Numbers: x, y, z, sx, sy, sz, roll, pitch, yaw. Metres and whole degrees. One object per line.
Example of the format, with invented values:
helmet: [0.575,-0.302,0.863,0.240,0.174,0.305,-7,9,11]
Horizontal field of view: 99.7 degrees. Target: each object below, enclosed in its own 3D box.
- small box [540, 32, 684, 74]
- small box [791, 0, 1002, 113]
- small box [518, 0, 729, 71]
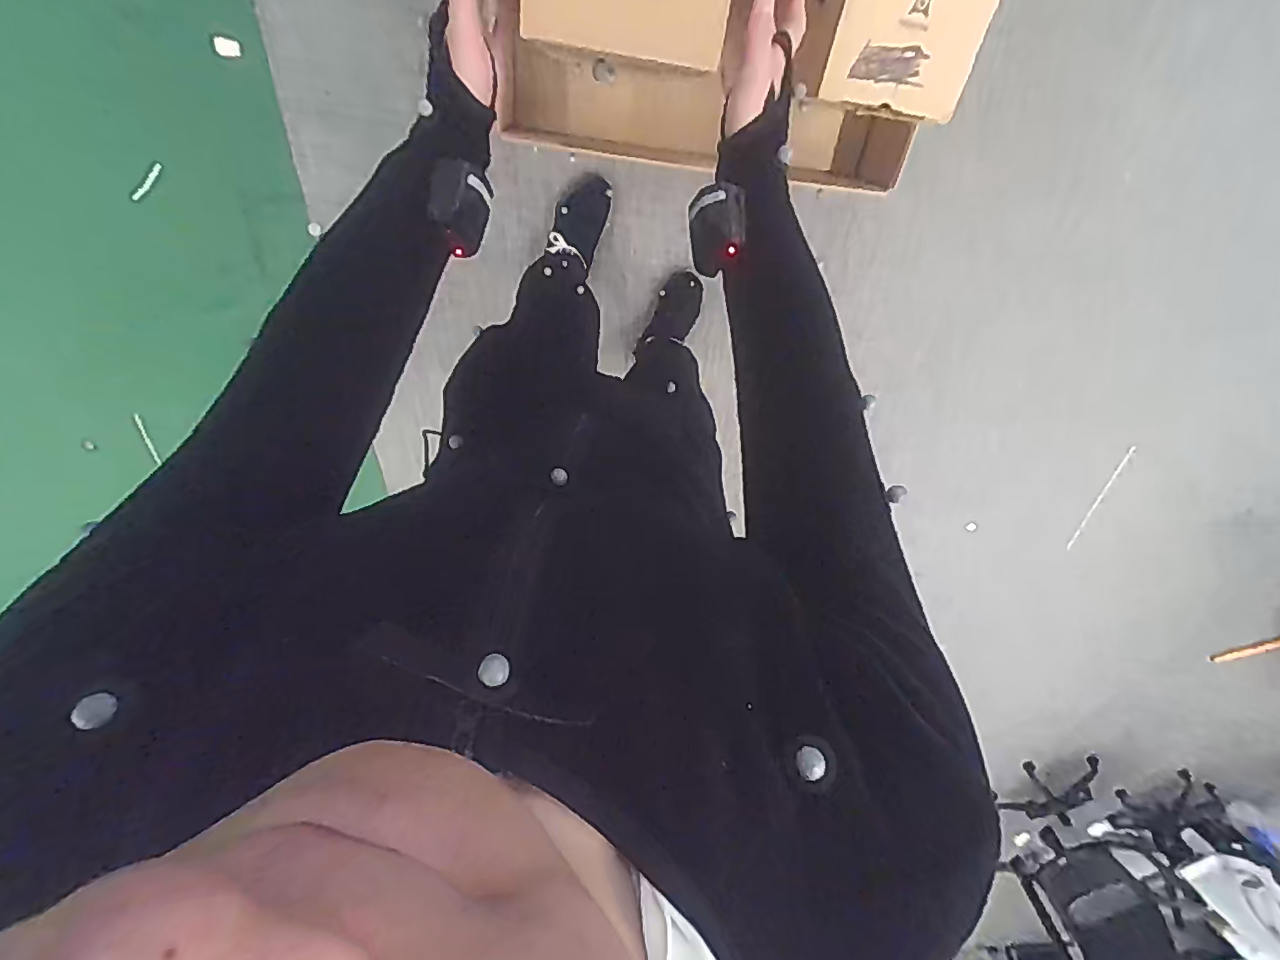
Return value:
small box: [-0.015,-0.563,0.584,0.168,0.176,0.179,6,126,-7]
small box: [0.287,-0.542,0.618,0.168,0.176,0.179,5,126,-7]
small box: [-0.007,-0.467,0.453,0.168,0.176,0.179,6,126,-6]
